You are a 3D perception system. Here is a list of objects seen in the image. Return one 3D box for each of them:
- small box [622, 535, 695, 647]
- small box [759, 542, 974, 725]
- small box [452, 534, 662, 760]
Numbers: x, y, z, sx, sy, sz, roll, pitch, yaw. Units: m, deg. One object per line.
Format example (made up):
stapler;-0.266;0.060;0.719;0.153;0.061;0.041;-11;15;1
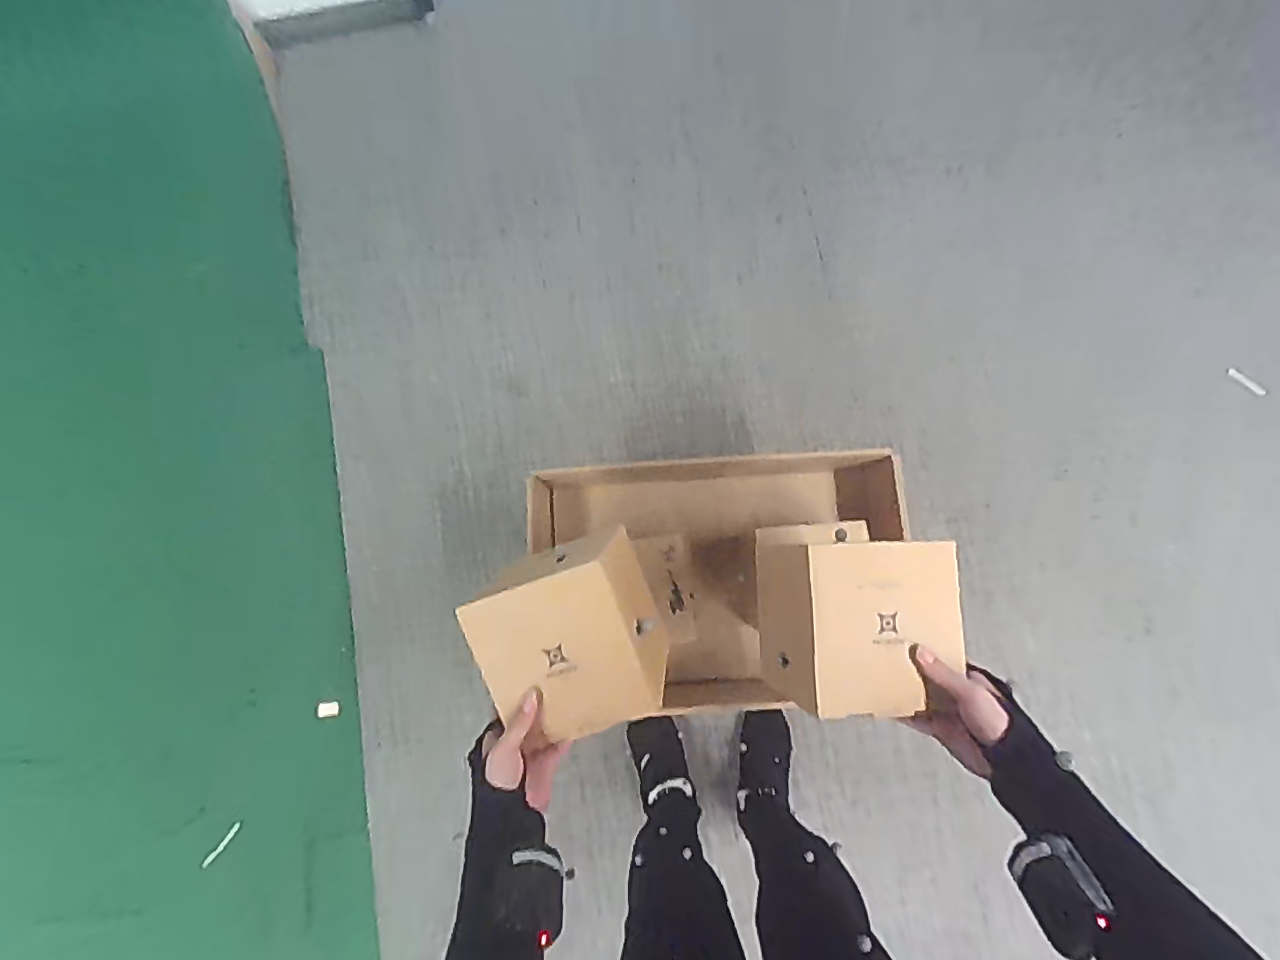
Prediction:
small box;-0.006;0.187;0.901;0.179;0.176;0.168;-6;81;1
small box;0.241;0.160;0.615;0.168;0.176;0.179;0;83;-7
small box;-0.080;0.172;0.619;0.168;0.176;0.179;-20;96;7
